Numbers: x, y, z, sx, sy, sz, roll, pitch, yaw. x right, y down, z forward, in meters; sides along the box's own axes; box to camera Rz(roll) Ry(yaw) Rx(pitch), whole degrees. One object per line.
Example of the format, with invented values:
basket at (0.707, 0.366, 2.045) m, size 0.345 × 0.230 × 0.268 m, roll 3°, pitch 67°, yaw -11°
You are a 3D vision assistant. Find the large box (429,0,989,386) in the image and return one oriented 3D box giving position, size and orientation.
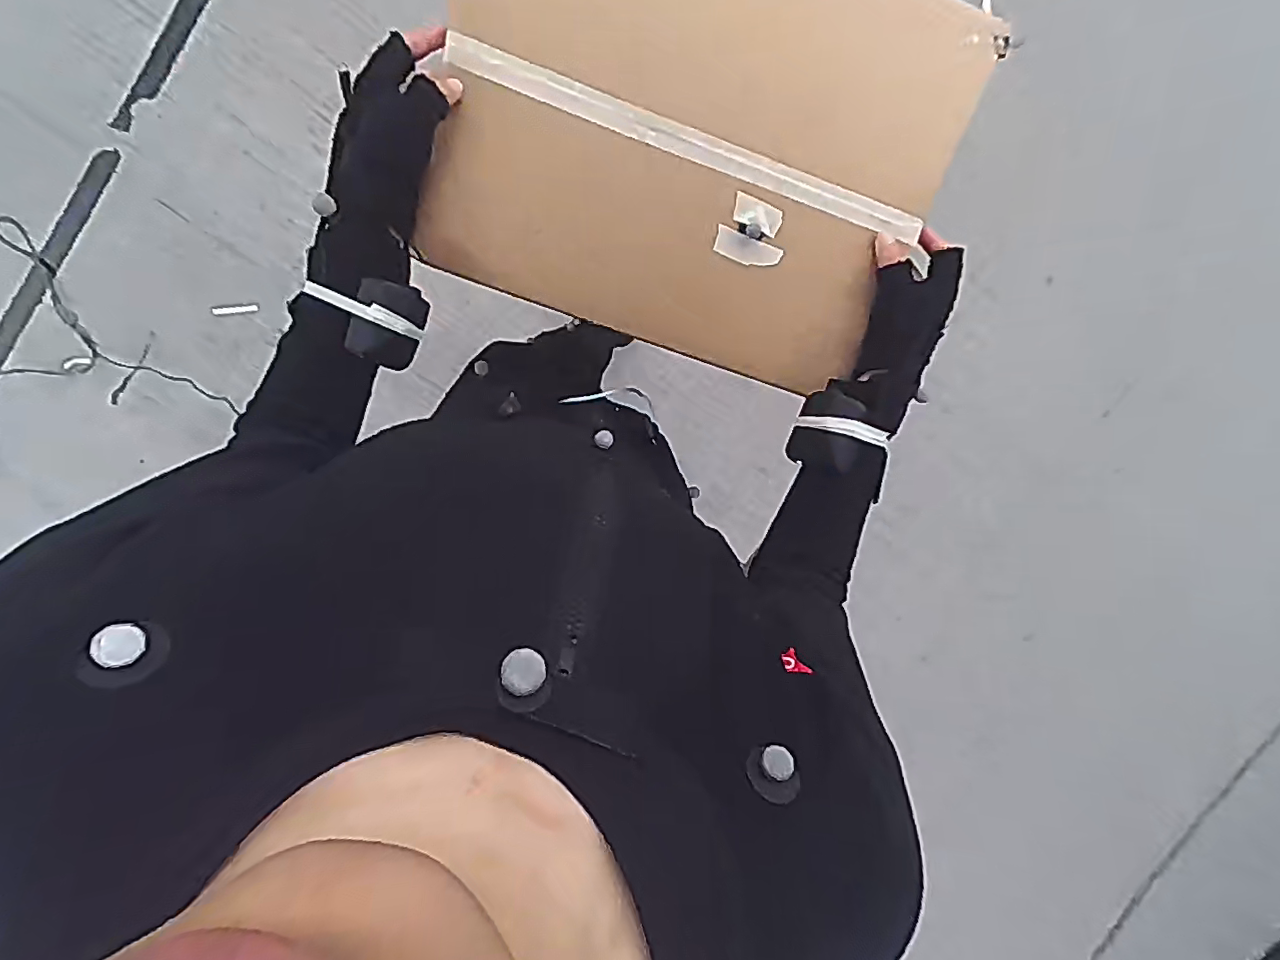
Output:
large box at (0.041, -0.330, 0.592) m, size 0.408 × 0.320 × 0.320 m, roll 17°, pitch 109°, yaw -8°
